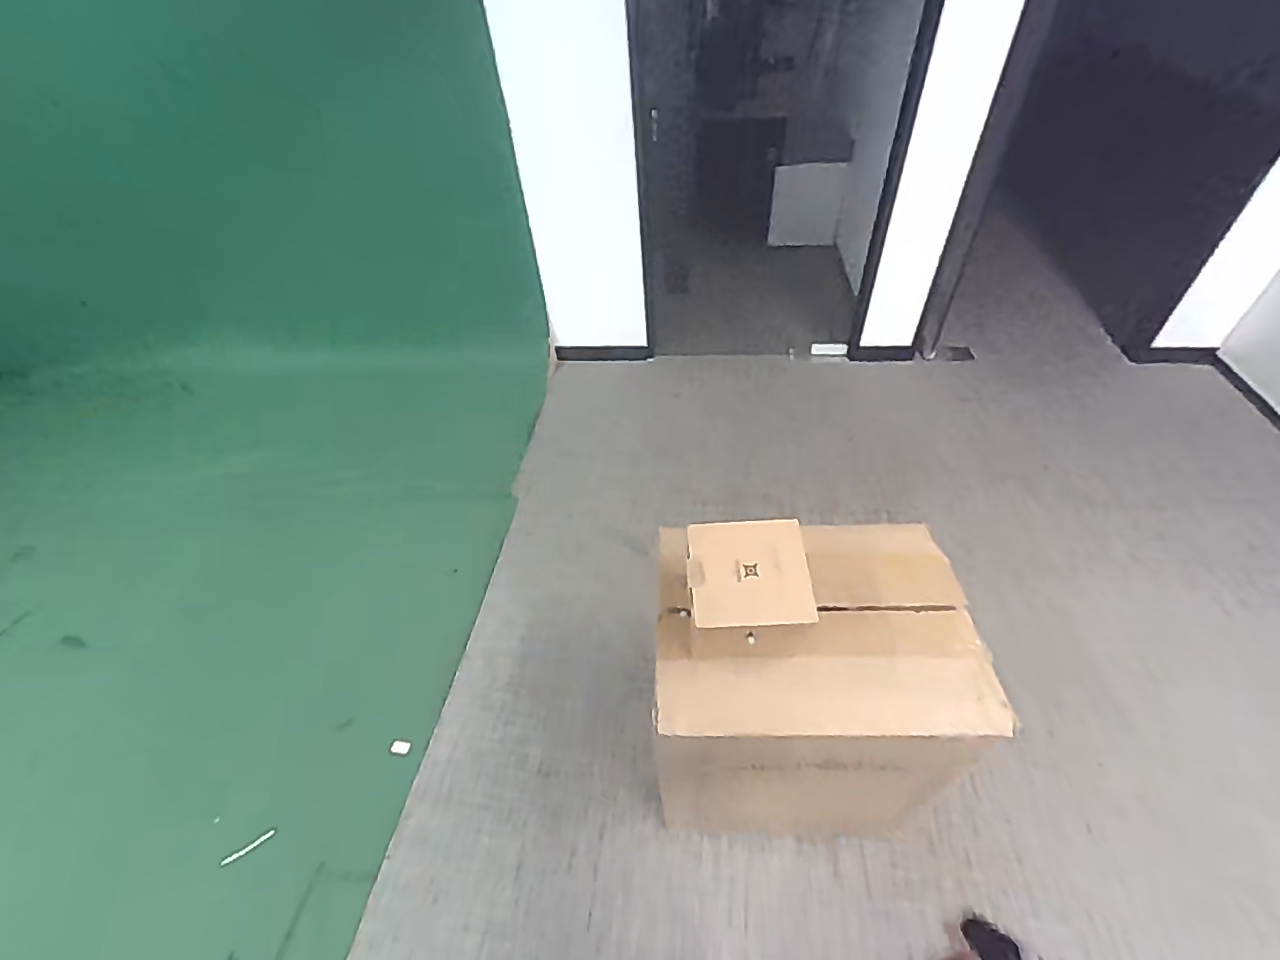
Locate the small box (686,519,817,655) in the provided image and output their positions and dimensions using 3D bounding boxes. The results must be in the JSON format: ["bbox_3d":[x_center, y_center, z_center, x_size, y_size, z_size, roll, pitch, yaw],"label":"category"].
[{"bbox_3d":[0.166,0.176,0.866,0.179,0.176,0.168,-3,57,2],"label":"small box"}]
